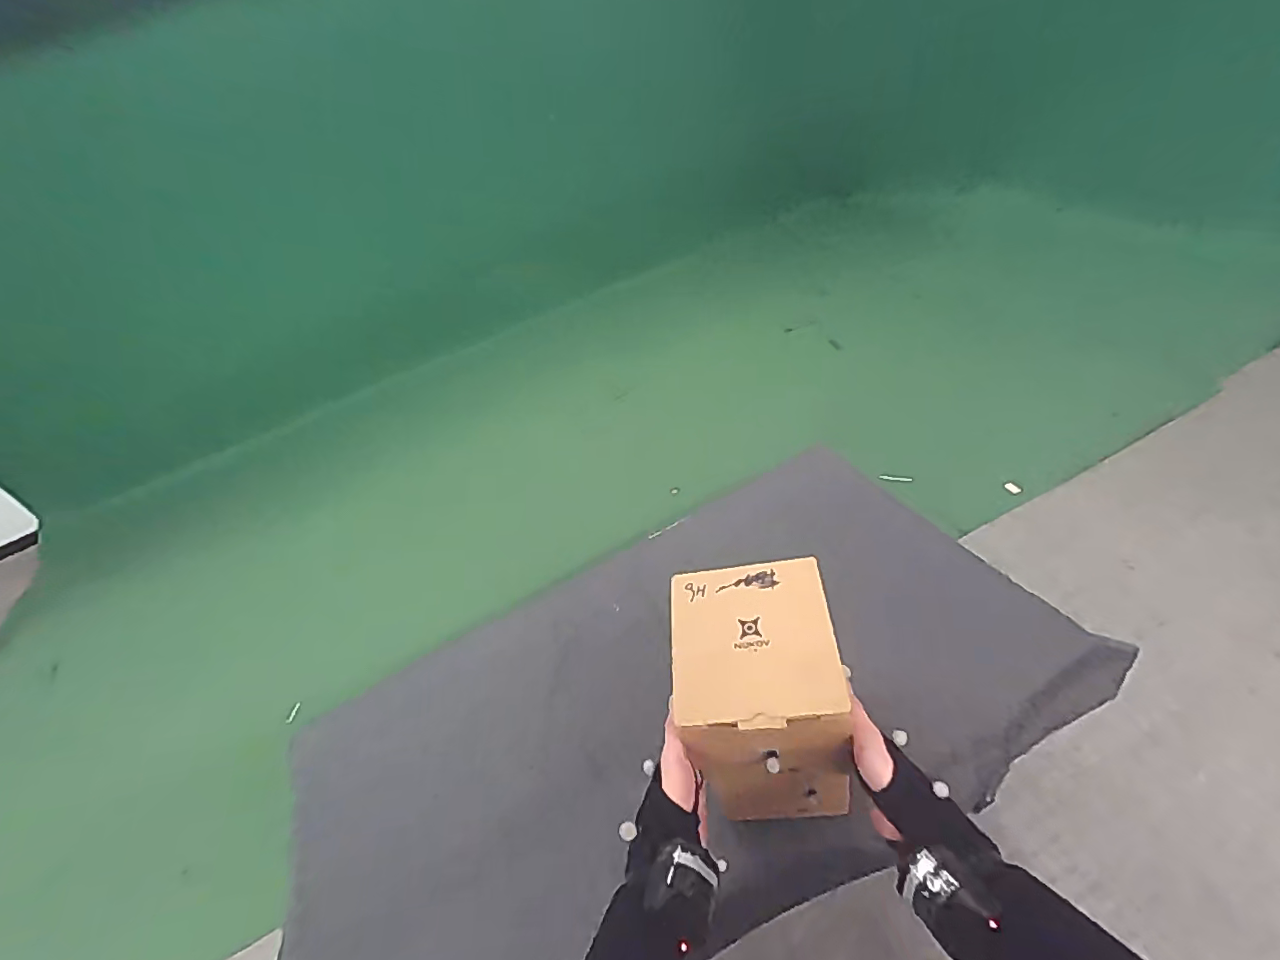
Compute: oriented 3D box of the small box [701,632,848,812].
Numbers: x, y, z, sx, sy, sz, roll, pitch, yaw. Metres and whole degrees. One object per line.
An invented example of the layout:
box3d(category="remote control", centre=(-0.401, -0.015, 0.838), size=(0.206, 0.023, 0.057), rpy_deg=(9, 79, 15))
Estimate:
box3d(category="small box", centre=(0.182, 0.337, 0.743), size=(0.168, 0.176, 0.179), rpy_deg=(-9, 40, 10))
